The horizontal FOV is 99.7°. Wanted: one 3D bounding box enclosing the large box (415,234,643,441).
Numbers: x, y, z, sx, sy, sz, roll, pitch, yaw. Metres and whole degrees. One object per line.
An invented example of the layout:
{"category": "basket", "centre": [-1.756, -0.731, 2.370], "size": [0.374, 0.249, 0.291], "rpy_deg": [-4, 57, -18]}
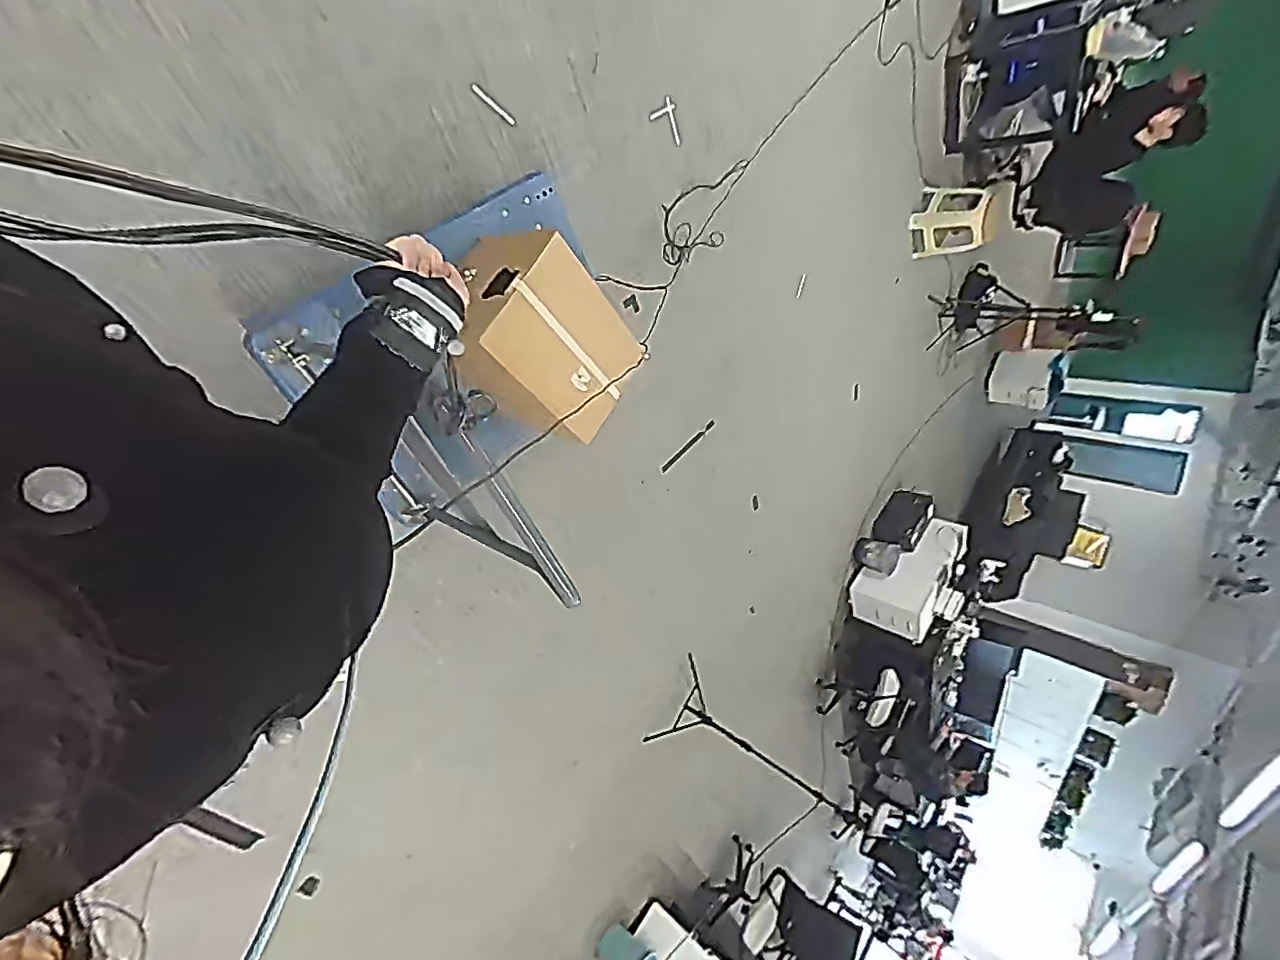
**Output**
{"category": "large box", "centre": [-0.269, -0.351, 1.370], "size": [0.408, 0.320, 0.320], "rpy_deg": [44, 71, -47]}
